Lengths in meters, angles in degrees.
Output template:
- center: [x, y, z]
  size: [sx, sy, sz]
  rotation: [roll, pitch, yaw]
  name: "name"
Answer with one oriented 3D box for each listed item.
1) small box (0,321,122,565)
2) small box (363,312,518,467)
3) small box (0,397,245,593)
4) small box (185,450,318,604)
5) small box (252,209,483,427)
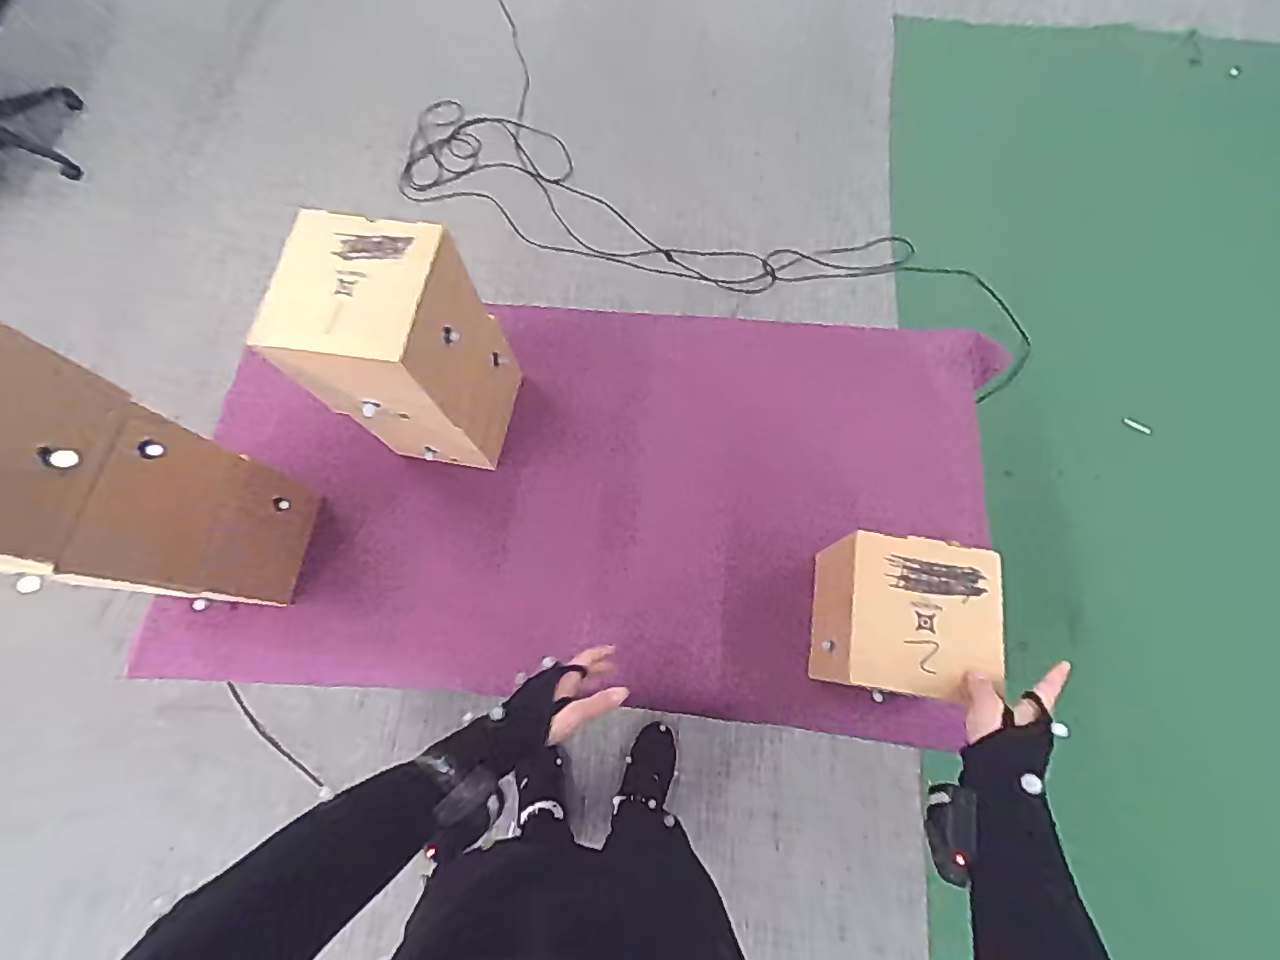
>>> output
- center: [-0.588, -0.040, 0.435]
  size: [0.168, 0.176, 0.179]
  rotation: [3, 69, 4]
  name: "small box"
- center: [-0.292, -0.138, 0.804]
  size: [0.168, 0.176, 0.179]
  rotation: [10, 73, 5]
  name: "small box"
- center: [-0.583, 0.020, 0.588]
  size: [0.168, 0.176, 0.179]
  rotation: [5, 70, 4]
  name: "small box"
- center: [-0.582, 0.066, 0.743]
  size: [0.168, 0.176, 0.179]
  rotation: [5, 71, 3]
  name: "small box"
- center: [-0.302, -0.184, 0.646]
  size: [0.168, 0.176, 0.179]
  rotation: [8, 73, 4]
  name: "small box"
